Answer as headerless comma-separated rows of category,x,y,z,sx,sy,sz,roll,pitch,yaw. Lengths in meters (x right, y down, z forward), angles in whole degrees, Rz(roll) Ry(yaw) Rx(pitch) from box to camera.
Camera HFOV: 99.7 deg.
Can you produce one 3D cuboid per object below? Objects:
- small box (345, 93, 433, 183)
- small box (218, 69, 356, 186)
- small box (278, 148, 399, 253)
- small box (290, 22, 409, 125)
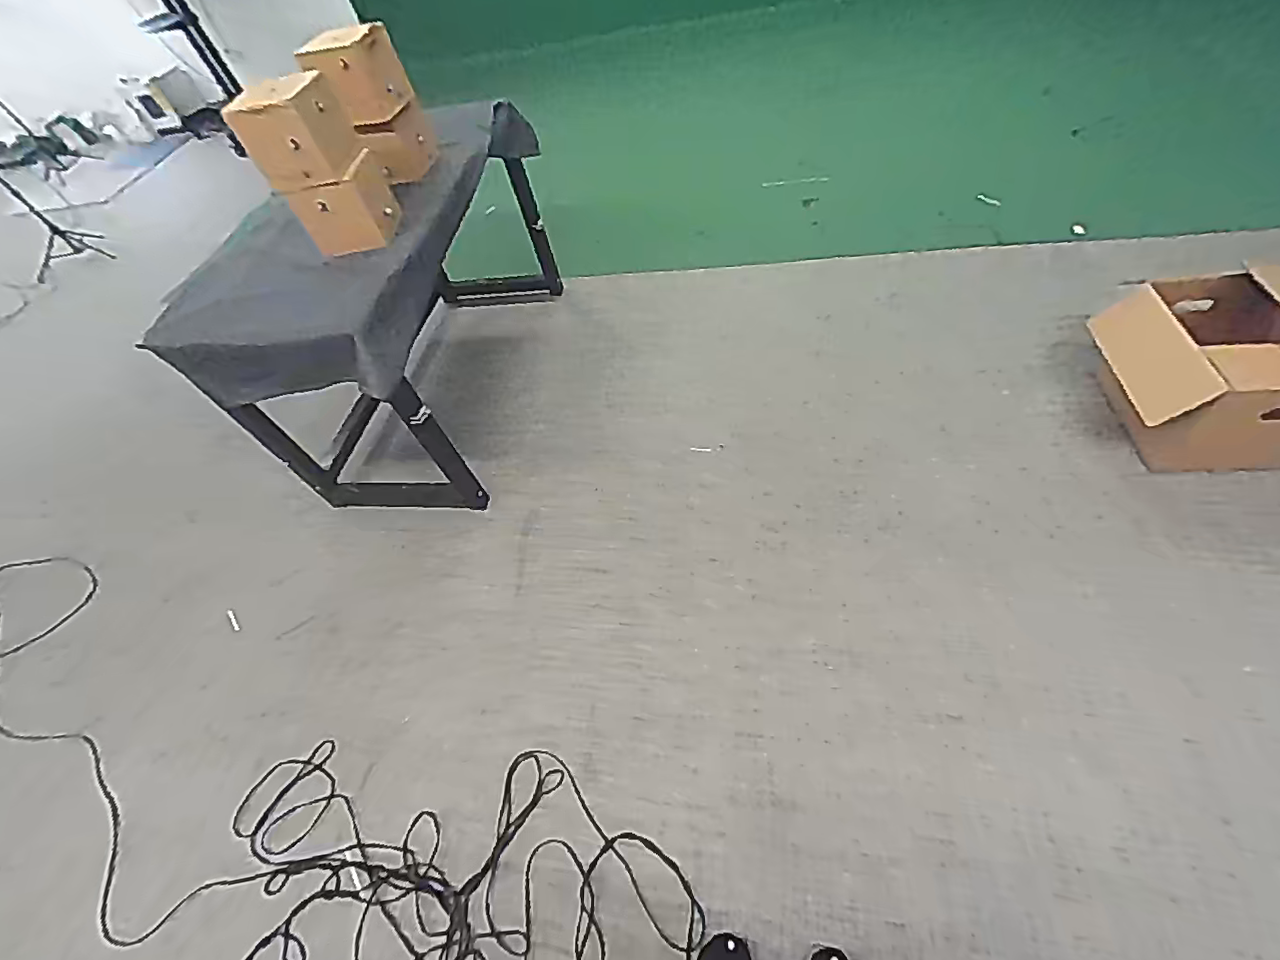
small box,-0.727,-0.977,1.553,0.179,0.176,0.168,1,55,12
small box,-0.778,-0.784,1.218,0.168,0.176,0.179,-4,53,7
small box,-0.737,-0.687,1.341,0.179,0.176,0.168,-7,53,6
small box,-0.746,-1.052,1.407,0.179,0.176,0.168,4,55,14
